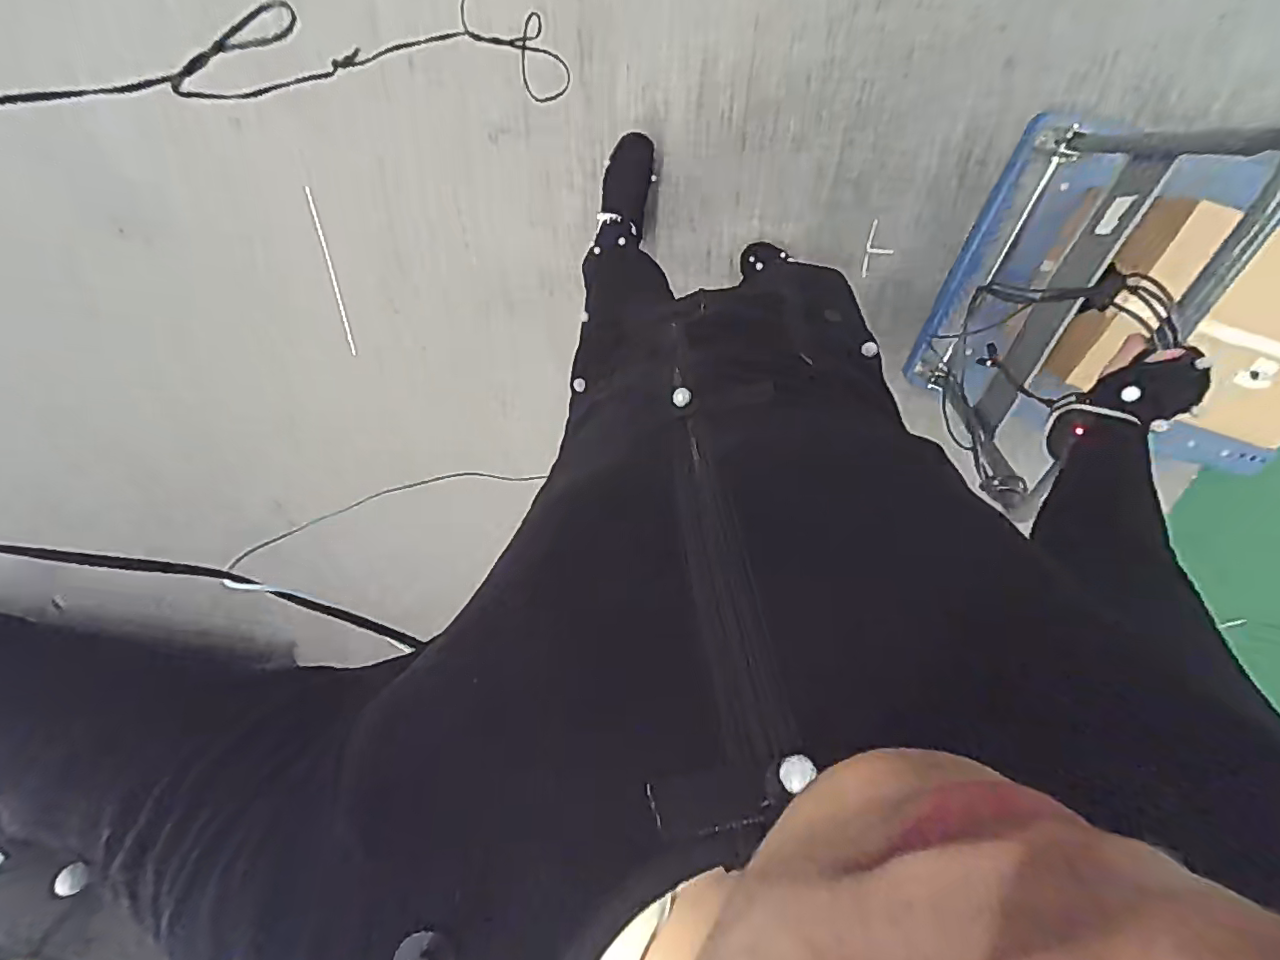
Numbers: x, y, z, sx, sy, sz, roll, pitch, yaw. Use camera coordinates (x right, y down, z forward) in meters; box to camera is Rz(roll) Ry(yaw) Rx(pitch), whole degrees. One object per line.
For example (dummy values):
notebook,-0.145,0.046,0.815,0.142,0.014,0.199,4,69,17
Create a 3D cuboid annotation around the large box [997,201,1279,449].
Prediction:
large box,1.008,-0.307,1.025,0.408,0.320,0.320,17,122,0
